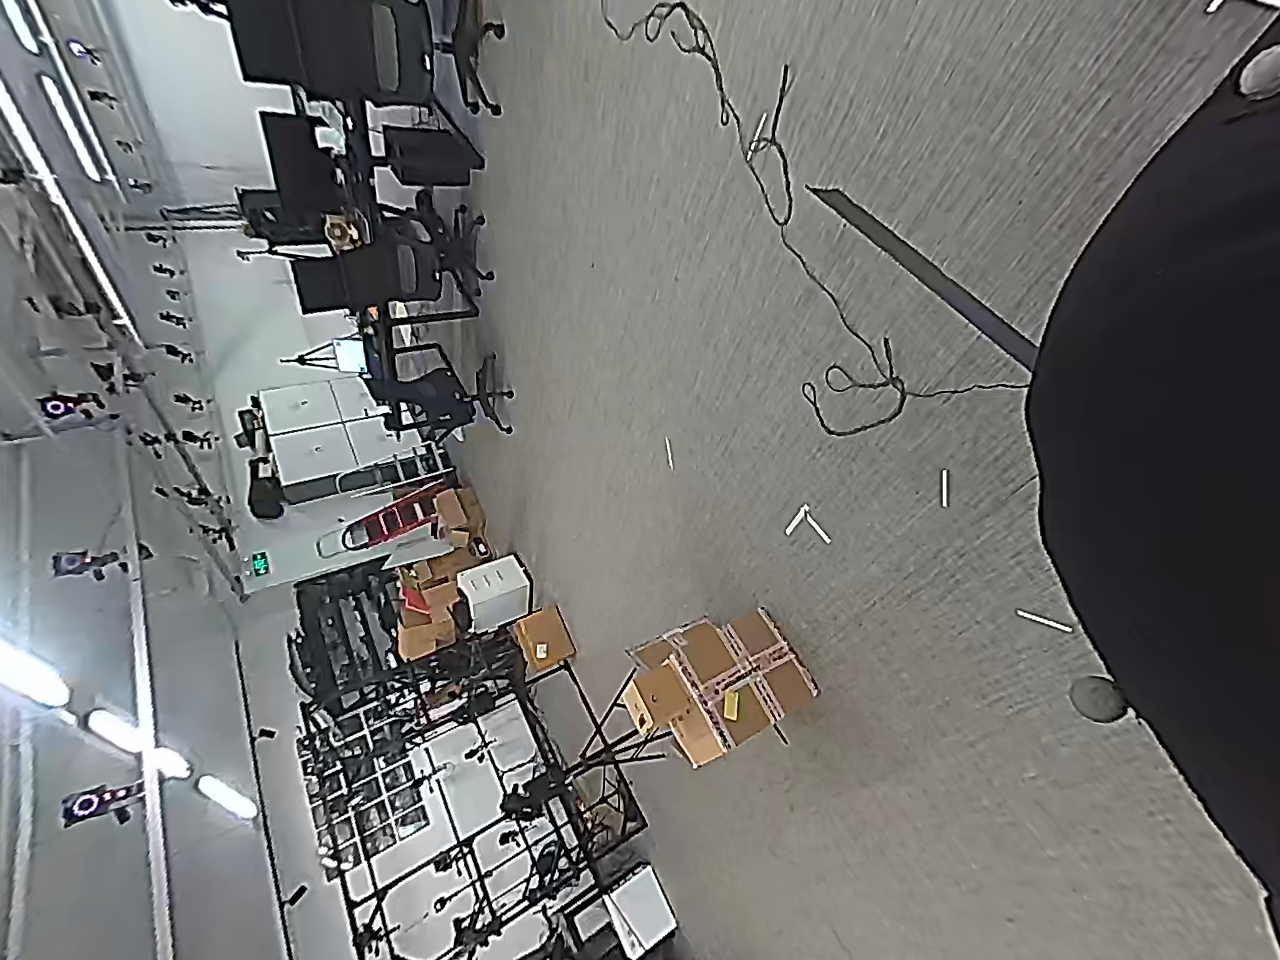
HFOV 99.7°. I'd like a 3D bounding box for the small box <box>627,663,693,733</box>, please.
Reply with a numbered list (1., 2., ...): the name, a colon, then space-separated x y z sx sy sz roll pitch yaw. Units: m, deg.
1. small box: 0.076 0.832 2.073 0.179 0.176 0.168 58 146 28
